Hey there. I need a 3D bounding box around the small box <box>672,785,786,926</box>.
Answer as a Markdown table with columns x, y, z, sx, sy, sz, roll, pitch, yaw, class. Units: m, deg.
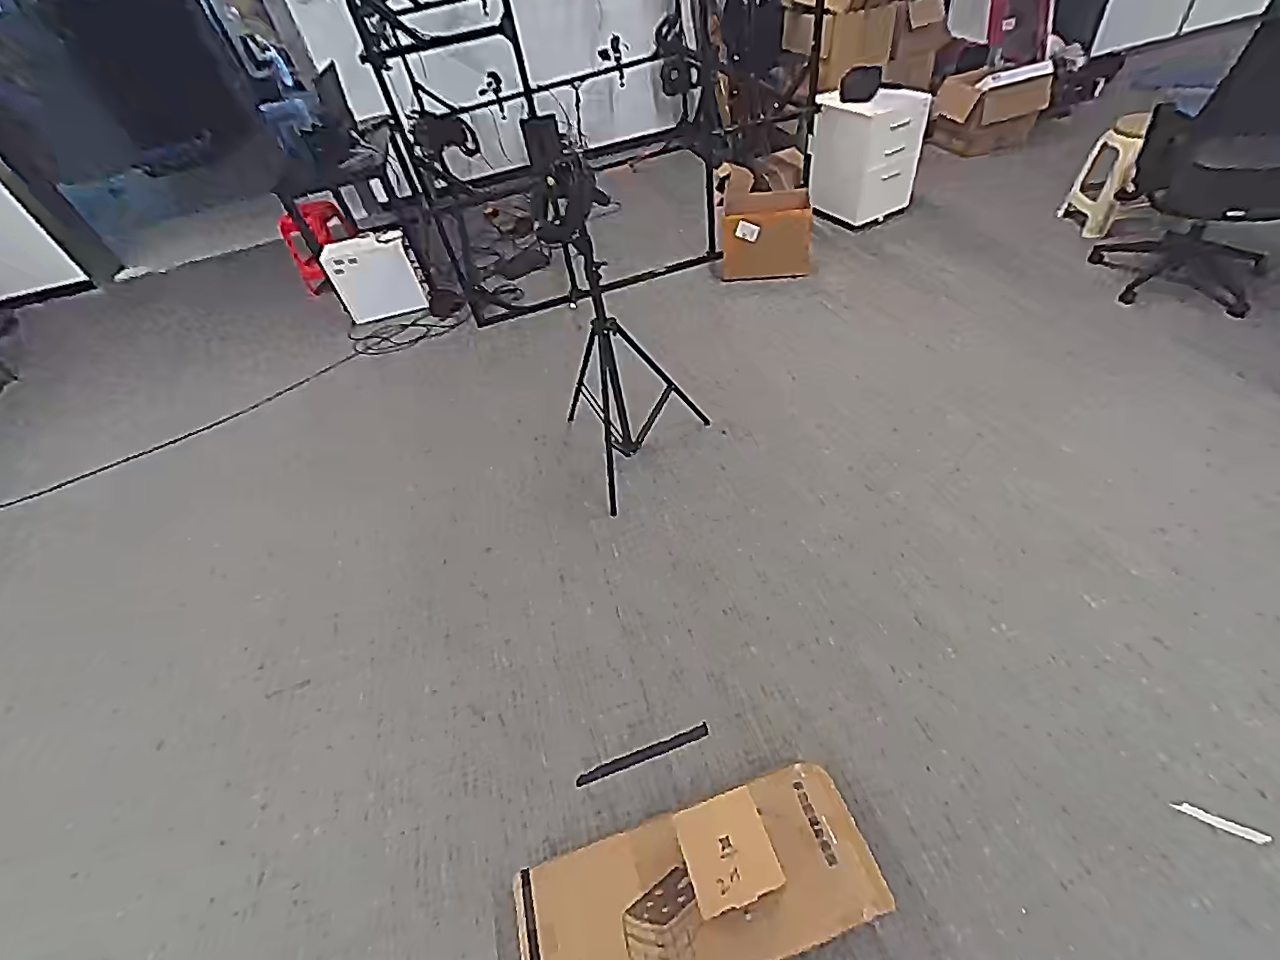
| x | y | z | sx | sy | sz | roll | pitch | yaw | class |
| --- | --- | --- | --- | --- | --- | --- | --- | --- | --- |
| 0.173 | 0.751 | 1.082 | 0.168 | 0.176 | 0.179 | -19 | 46 | -6 | small box |
